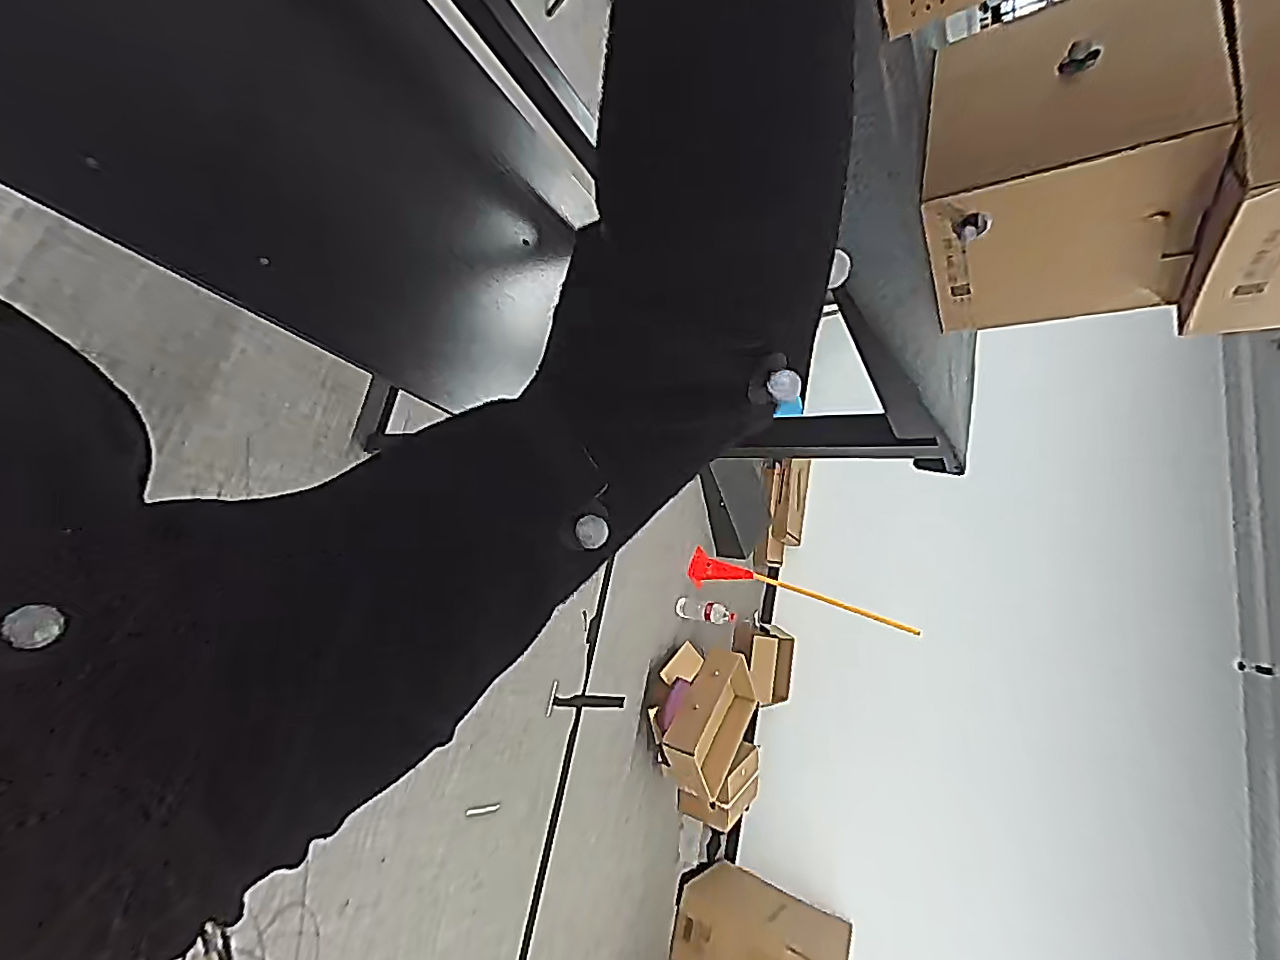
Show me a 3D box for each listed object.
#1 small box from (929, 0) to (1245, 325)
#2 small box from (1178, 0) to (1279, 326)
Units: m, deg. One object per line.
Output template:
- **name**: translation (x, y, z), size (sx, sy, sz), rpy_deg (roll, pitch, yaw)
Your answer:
- **small box**: translation (0.340, -0.251, 0.442), size (0.168, 0.176, 0.179), rpy_deg (37, 60, -50)
- **small box**: translation (0.467, -0.218, 0.342), size (0.168, 0.176, 0.179), rpy_deg (28, 67, -53)
